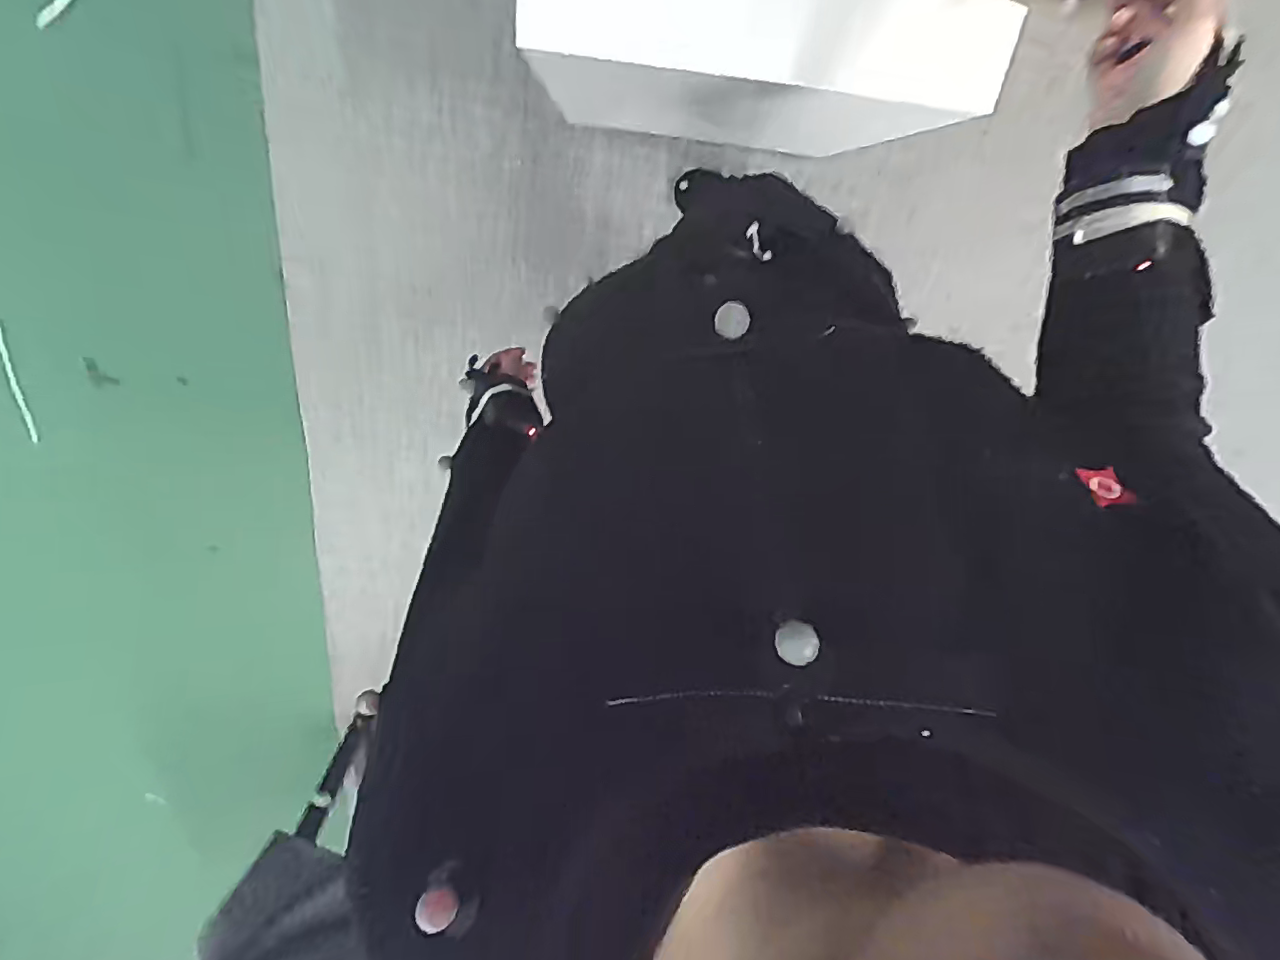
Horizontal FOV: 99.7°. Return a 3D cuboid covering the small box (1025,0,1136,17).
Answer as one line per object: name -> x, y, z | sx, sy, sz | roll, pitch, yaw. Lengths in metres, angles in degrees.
small box -> 0.317, -0.439, 0.349 | 0.168, 0.176, 0.179 | 17, 125, -6
